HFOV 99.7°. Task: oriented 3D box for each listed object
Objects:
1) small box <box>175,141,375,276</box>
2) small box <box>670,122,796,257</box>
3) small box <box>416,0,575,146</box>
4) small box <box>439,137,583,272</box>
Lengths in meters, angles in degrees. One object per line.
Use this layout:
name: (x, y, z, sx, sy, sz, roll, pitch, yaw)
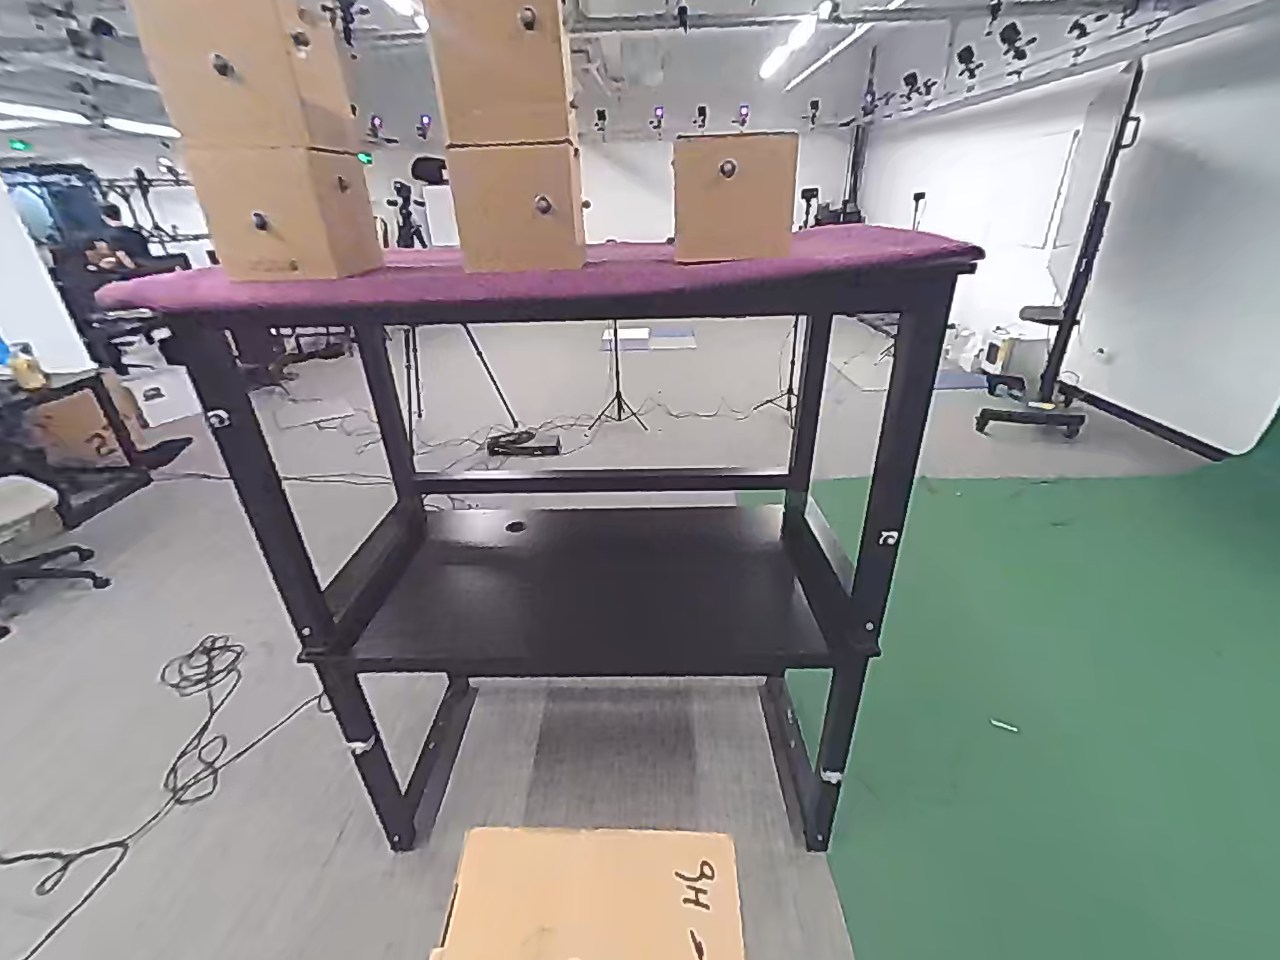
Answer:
small box: (-0.526, -0.405, 0.816, 0.168, 0.176, 0.179, -1, 28, -1)
small box: (0.137, -0.447, 0.854, 0.179, 0.176, 0.168, -1, 26, 3)
small box: (-0.192, -0.571, 0.767, 0.179, 0.176, 0.168, -3, 27, -2)
small box: (-0.185, -0.424, 0.839, 0.179, 0.176, 0.168, -3, 27, 0)
